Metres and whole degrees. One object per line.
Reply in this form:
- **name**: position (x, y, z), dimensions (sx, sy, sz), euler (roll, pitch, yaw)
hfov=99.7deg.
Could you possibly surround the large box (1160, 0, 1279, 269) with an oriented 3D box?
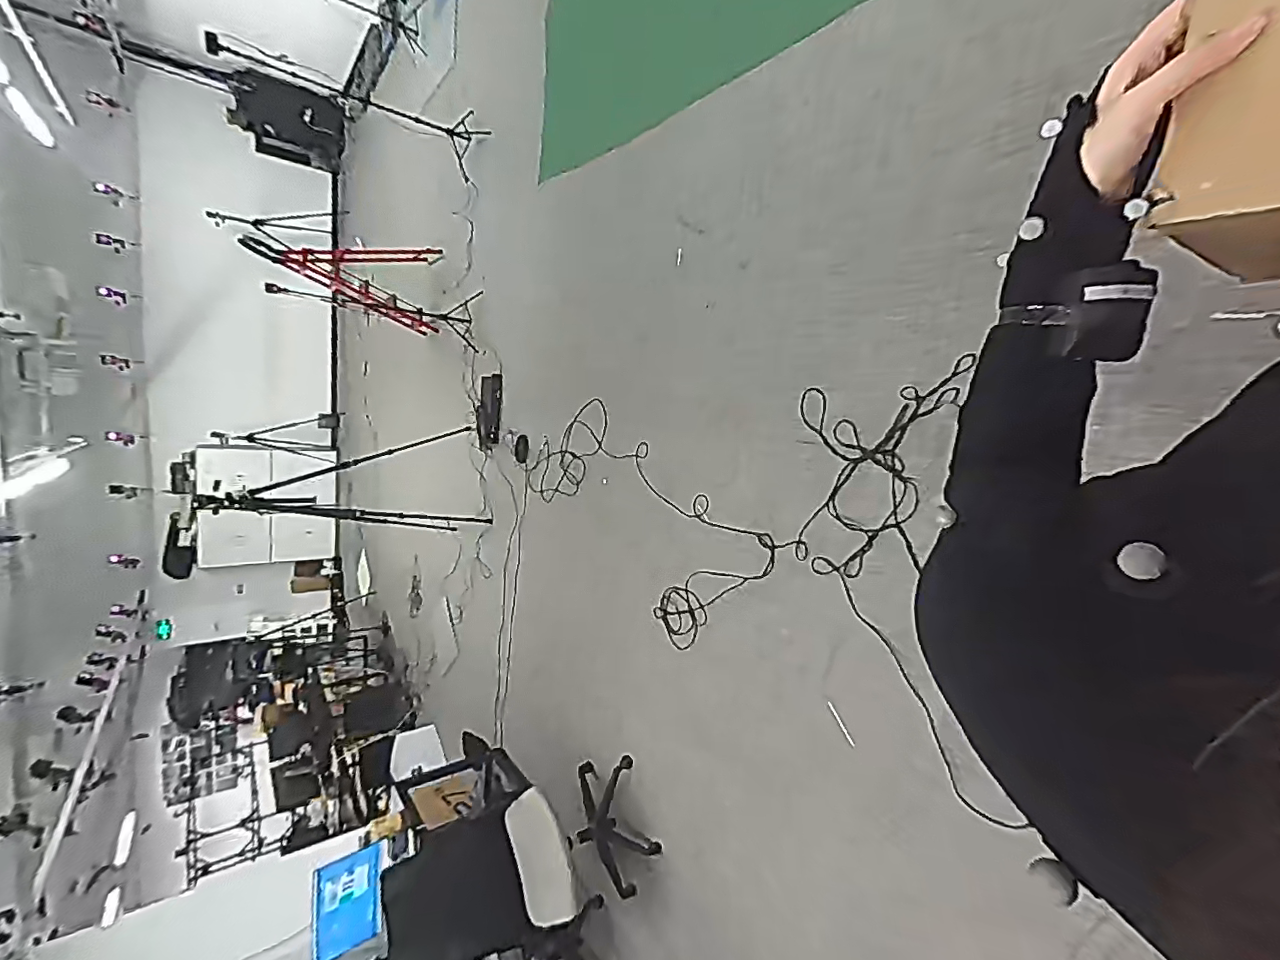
- **large box**: position (0.592, -0.303, 0.260), dimensions (0.408, 0.320, 0.320), euler (18, 110, 55)
